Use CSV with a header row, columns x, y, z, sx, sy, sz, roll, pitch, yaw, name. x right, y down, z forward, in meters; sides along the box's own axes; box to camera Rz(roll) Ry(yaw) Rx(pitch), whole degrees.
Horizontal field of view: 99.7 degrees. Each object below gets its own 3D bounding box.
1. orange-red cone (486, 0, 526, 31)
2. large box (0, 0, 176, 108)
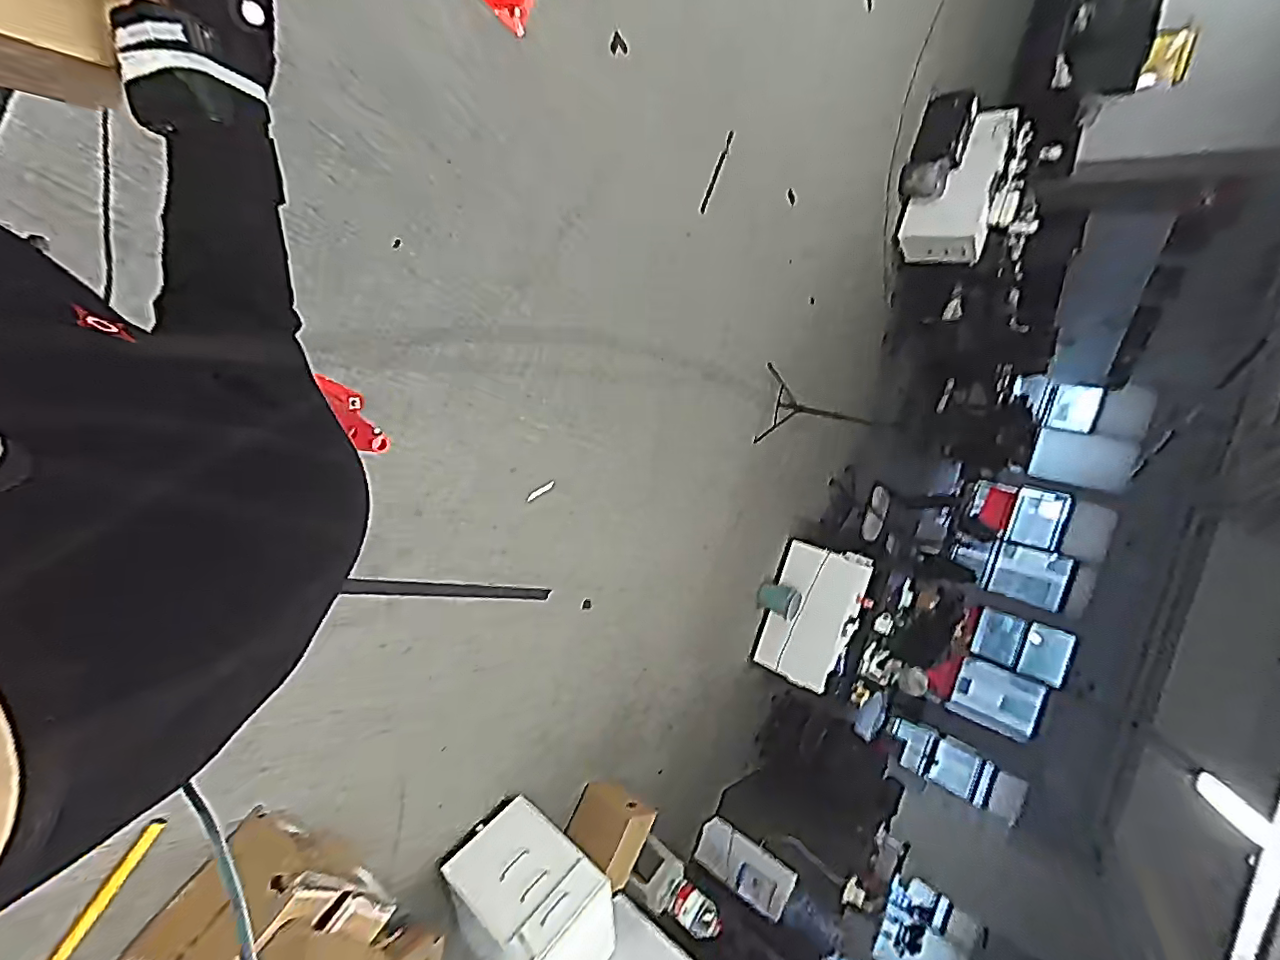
x,y,z,sx,sy,sz,roll,pitch,yaw,name
-0.249,-1.335,1.366,0.198,0.360,0.199,16,90,-55,orange-red cone
-0.548,-0.443,0.273,0.408,0.320,0.320,-13,120,-50,large box
